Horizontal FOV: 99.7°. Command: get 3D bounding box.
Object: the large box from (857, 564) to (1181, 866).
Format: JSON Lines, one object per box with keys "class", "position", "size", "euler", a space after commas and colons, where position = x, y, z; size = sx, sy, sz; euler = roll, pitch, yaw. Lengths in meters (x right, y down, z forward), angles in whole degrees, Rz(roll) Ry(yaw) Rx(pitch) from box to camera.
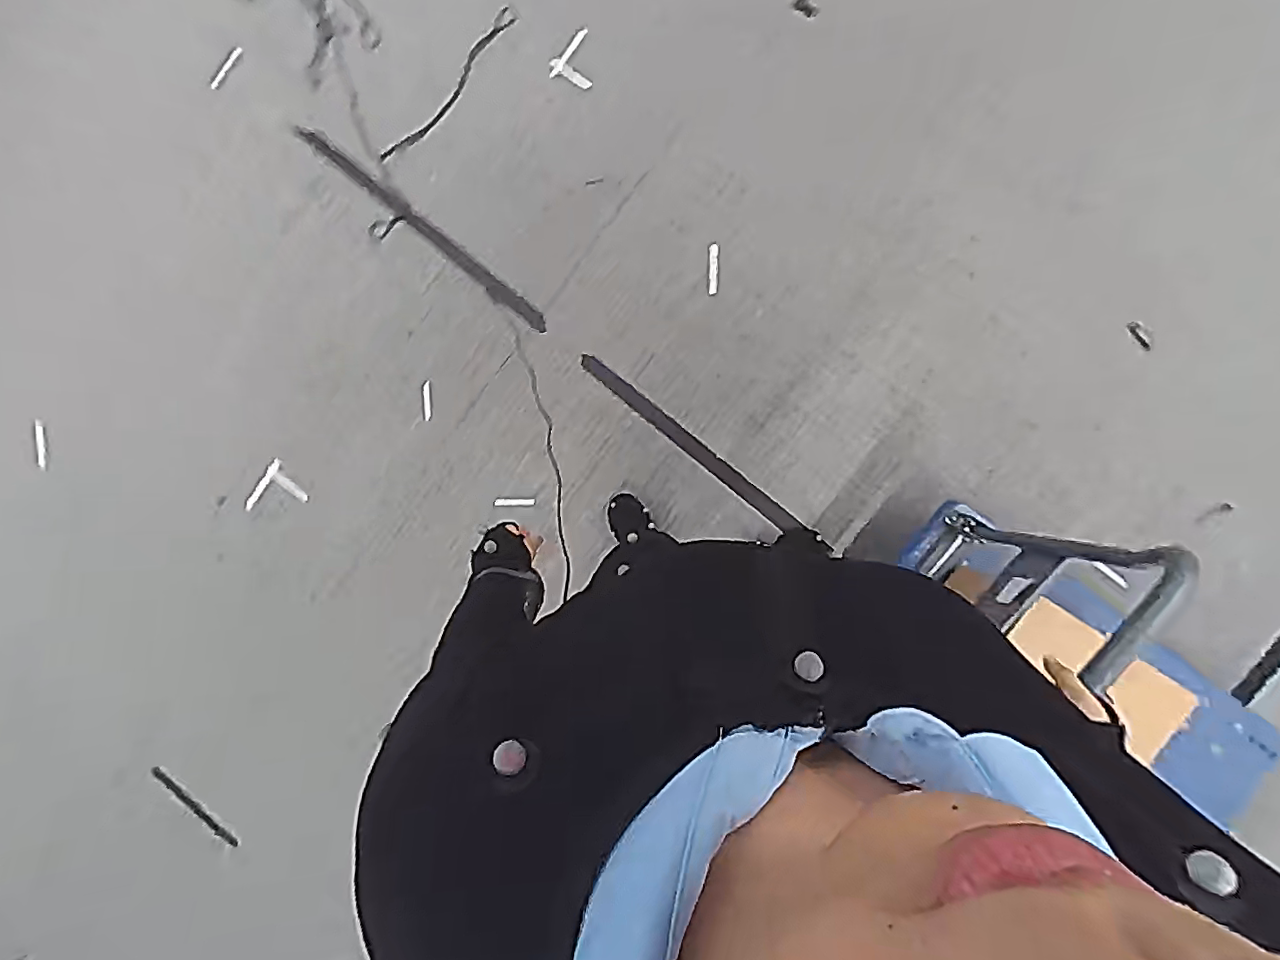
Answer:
{"class": "large box", "position": [0.727, 0.441, 1.112], "size": [0.320, 0.320, 0.408], "euler": [34, 95, 6]}
